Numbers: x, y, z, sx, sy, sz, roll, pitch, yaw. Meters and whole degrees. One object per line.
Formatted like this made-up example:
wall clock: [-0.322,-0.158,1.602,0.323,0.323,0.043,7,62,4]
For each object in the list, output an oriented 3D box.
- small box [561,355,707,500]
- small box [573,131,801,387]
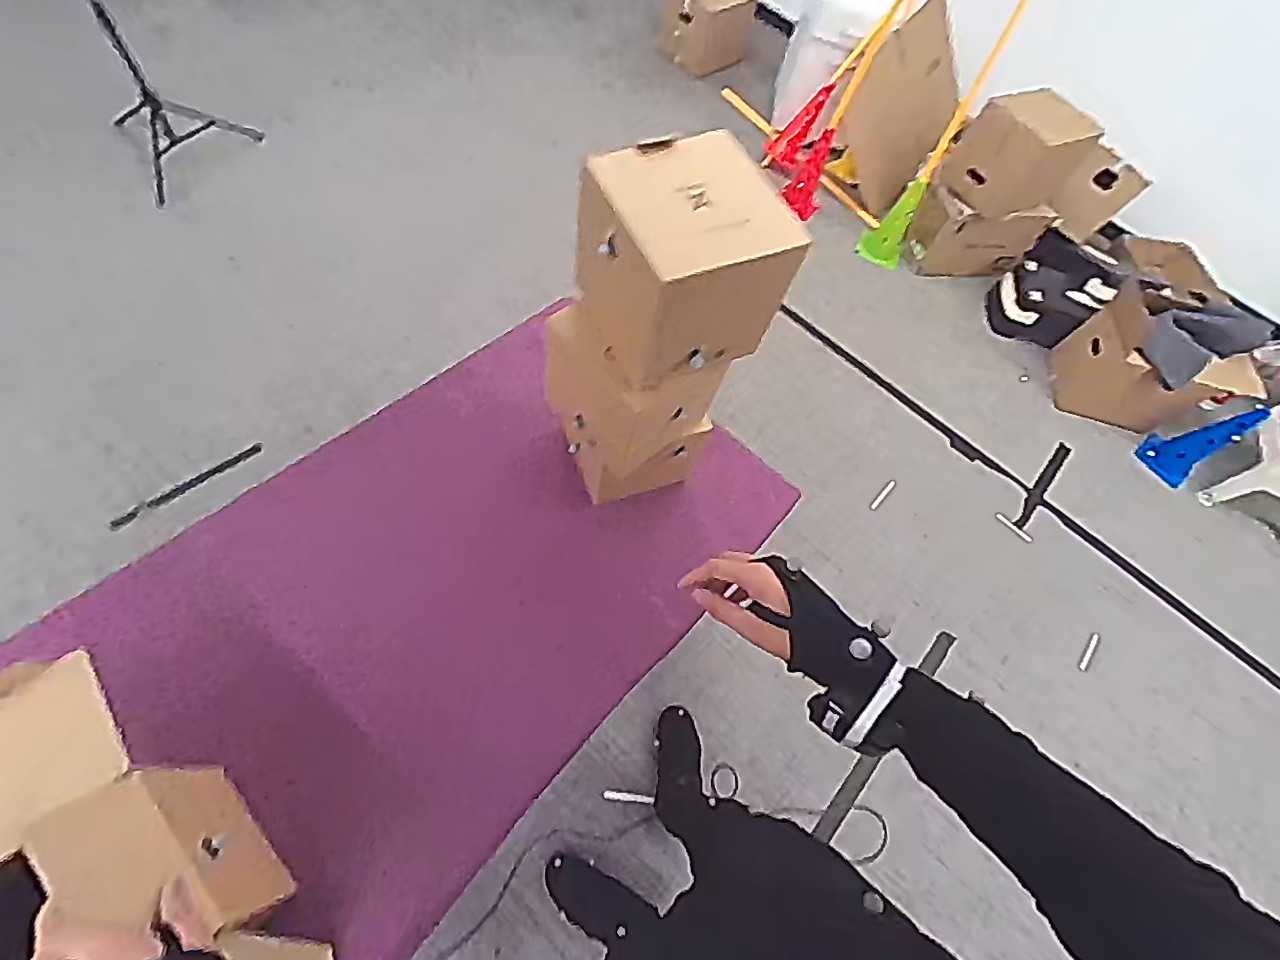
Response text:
small box: [-0.020,-0.089,0.875,0.179,0.176,0.168,-16,67,-17]
small box: [0.033,-0.232,0.584,0.168,0.176,0.179,-21,70,-17]
